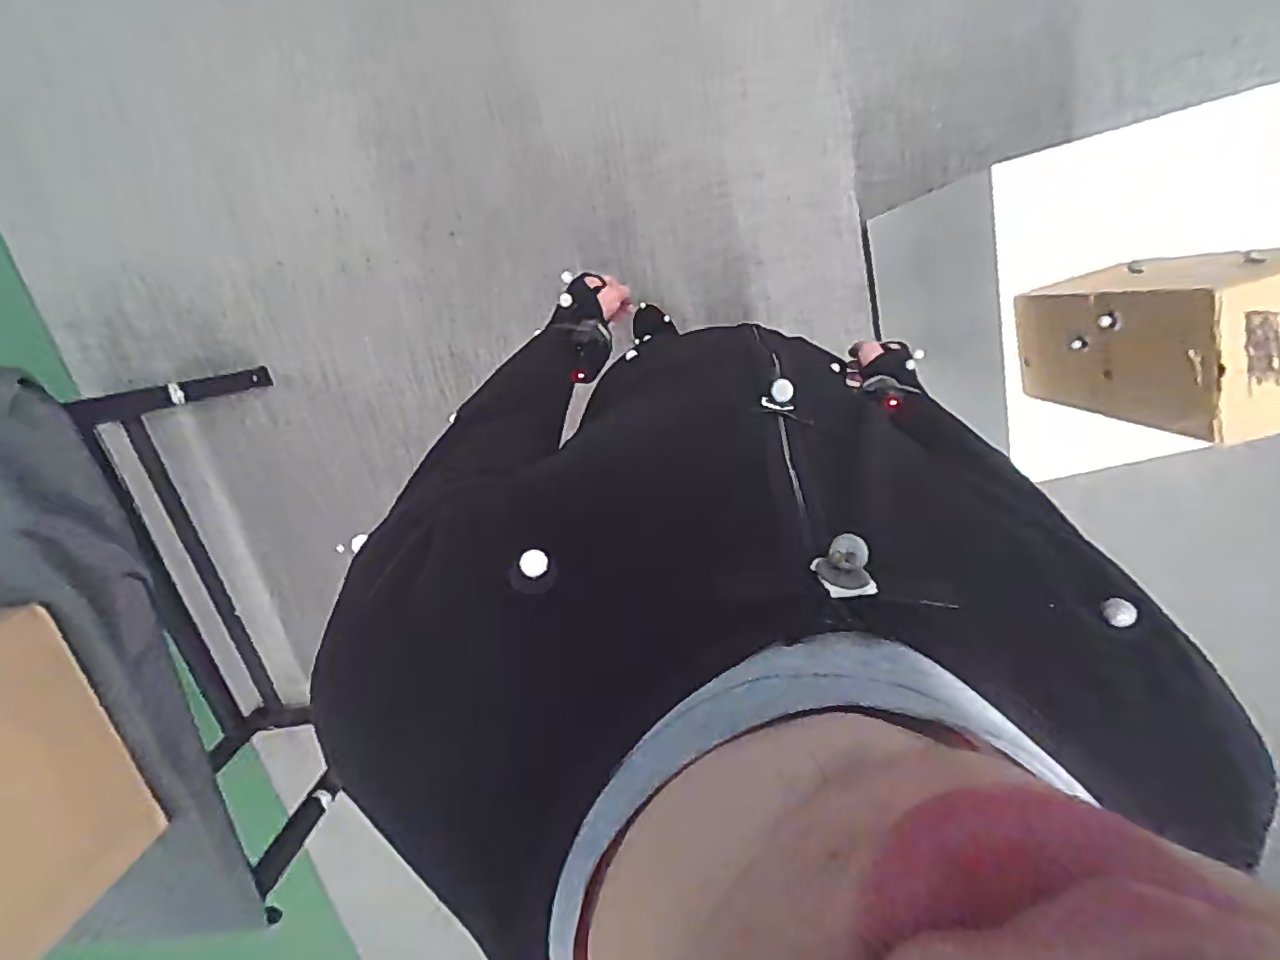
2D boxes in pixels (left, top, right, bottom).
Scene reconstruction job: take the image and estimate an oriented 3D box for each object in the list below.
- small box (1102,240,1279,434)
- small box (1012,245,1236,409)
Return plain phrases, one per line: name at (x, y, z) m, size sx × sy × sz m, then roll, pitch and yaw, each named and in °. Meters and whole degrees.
small box at (0.668, -0.166, 0.610) m, size 0.179 × 0.176 × 0.168 m, roll -16°, pitch 106°, yaw 7°
small box at (0.675, -0.215, 0.768) m, size 0.179 × 0.176 × 0.168 m, roll -17°, pitch 105°, yaw 7°
